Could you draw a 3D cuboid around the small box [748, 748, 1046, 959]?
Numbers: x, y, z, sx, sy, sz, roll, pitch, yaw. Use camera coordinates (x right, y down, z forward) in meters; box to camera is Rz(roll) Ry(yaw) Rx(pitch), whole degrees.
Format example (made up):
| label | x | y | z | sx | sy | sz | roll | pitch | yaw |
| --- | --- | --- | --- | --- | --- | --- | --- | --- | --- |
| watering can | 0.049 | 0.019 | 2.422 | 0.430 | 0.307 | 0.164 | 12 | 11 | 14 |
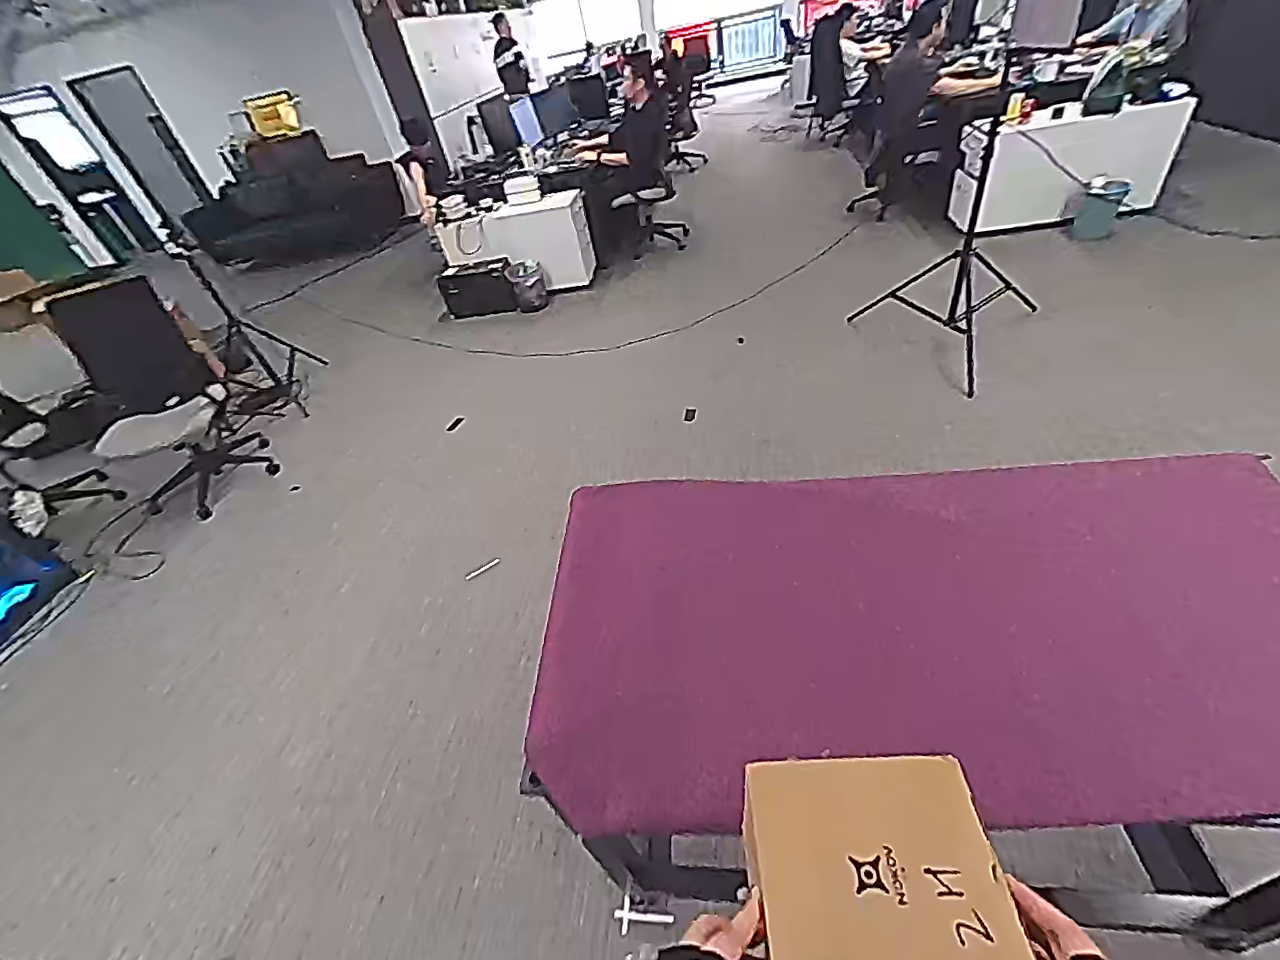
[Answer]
| label | x | y | z | sx | sy | sz | roll | pitch | yaw |
| --- | --- | --- | --- | --- | --- | --- | --- | --- | --- |
| small box | 0.185 | 0.340 | 0.445 | 0.179 | 0.176 | 0.168 | -3 | 42 | 5 |
